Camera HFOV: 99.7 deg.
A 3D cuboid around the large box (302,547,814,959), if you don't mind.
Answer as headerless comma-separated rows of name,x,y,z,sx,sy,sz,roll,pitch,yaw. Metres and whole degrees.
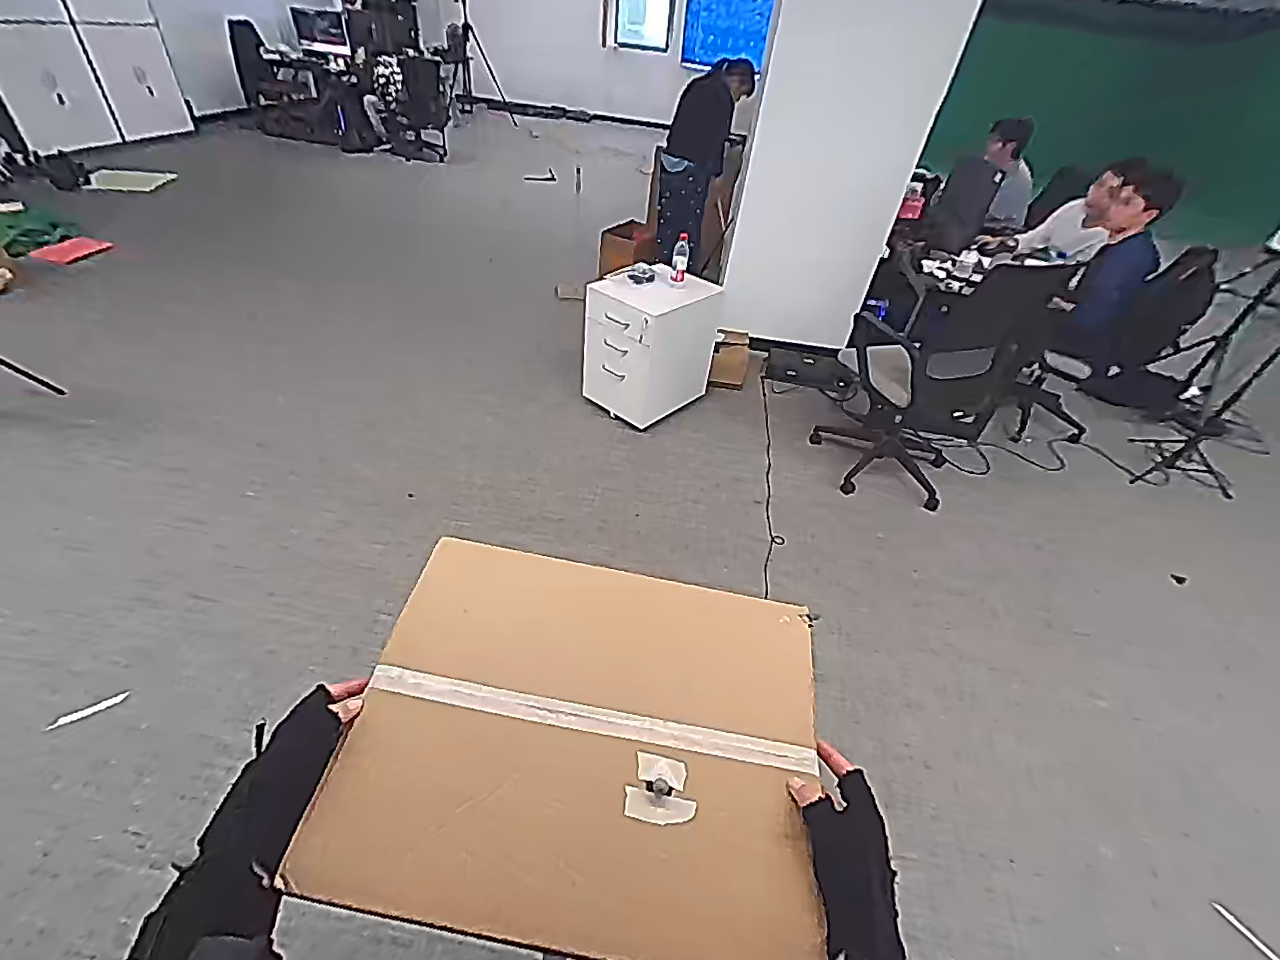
large box,-0.060,0.317,0.615,0.408,0.320,0.320,11,50,1
